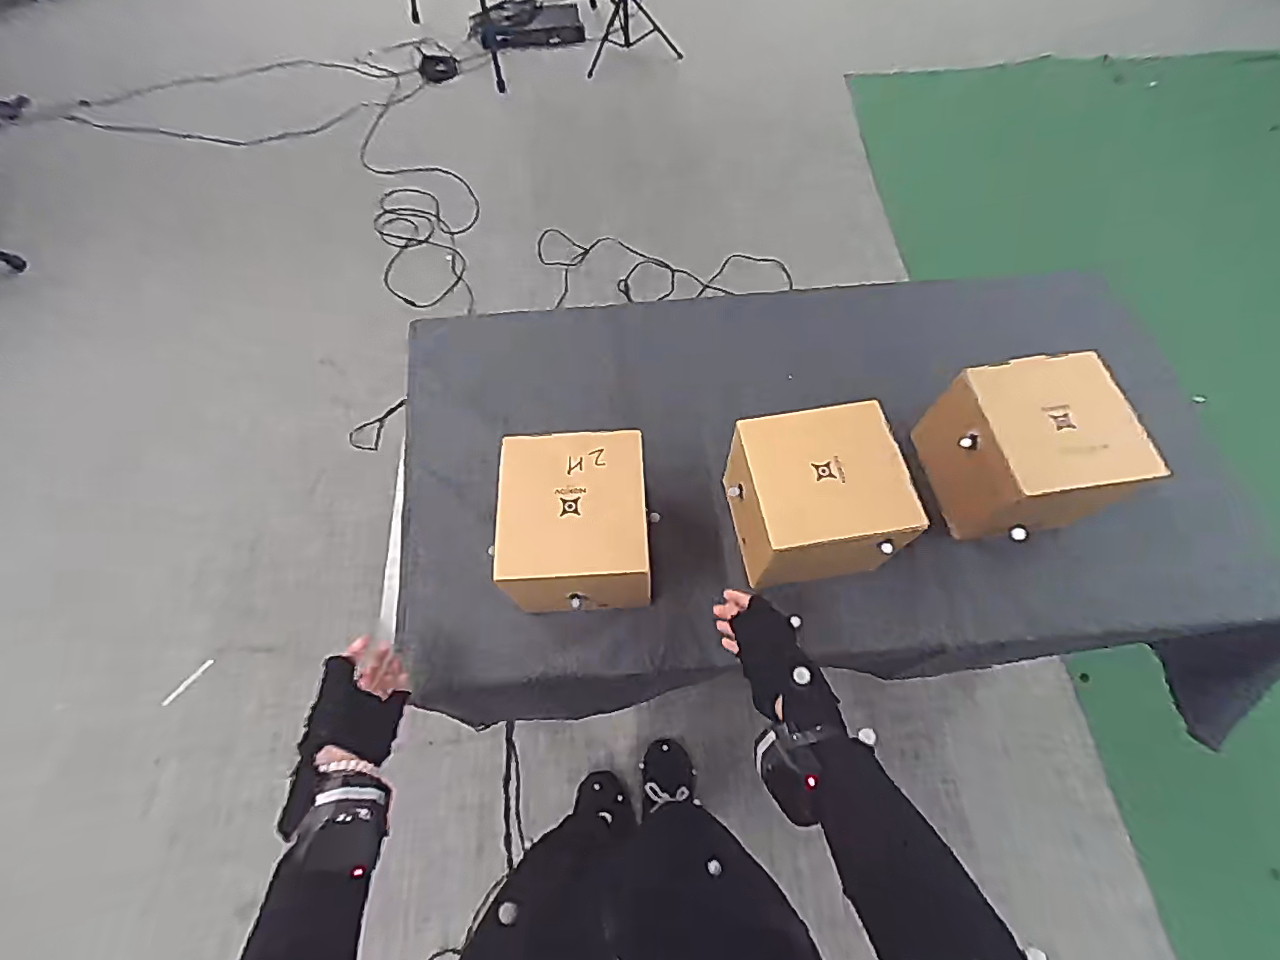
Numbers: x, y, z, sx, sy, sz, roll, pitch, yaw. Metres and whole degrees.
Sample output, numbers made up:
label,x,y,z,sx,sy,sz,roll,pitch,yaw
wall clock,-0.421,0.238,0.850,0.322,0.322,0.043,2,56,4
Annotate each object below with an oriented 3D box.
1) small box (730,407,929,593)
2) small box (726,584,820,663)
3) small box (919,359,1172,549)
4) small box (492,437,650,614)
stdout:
label,x,y,z,sx,sy,sz,roll,pitch,yaw
small box,0.215,0.033,0.675,0.179,0.176,0.168,-9,65,-2
small box,0.316,0.348,1.324,0.179,0.176,0.168,-7,65,0
small box,0.490,-0.027,0.692,0.168,0.176,0.179,-7,65,0
small box,-0.073,0.065,0.666,0.168,0.176,0.179,-3,65,0
